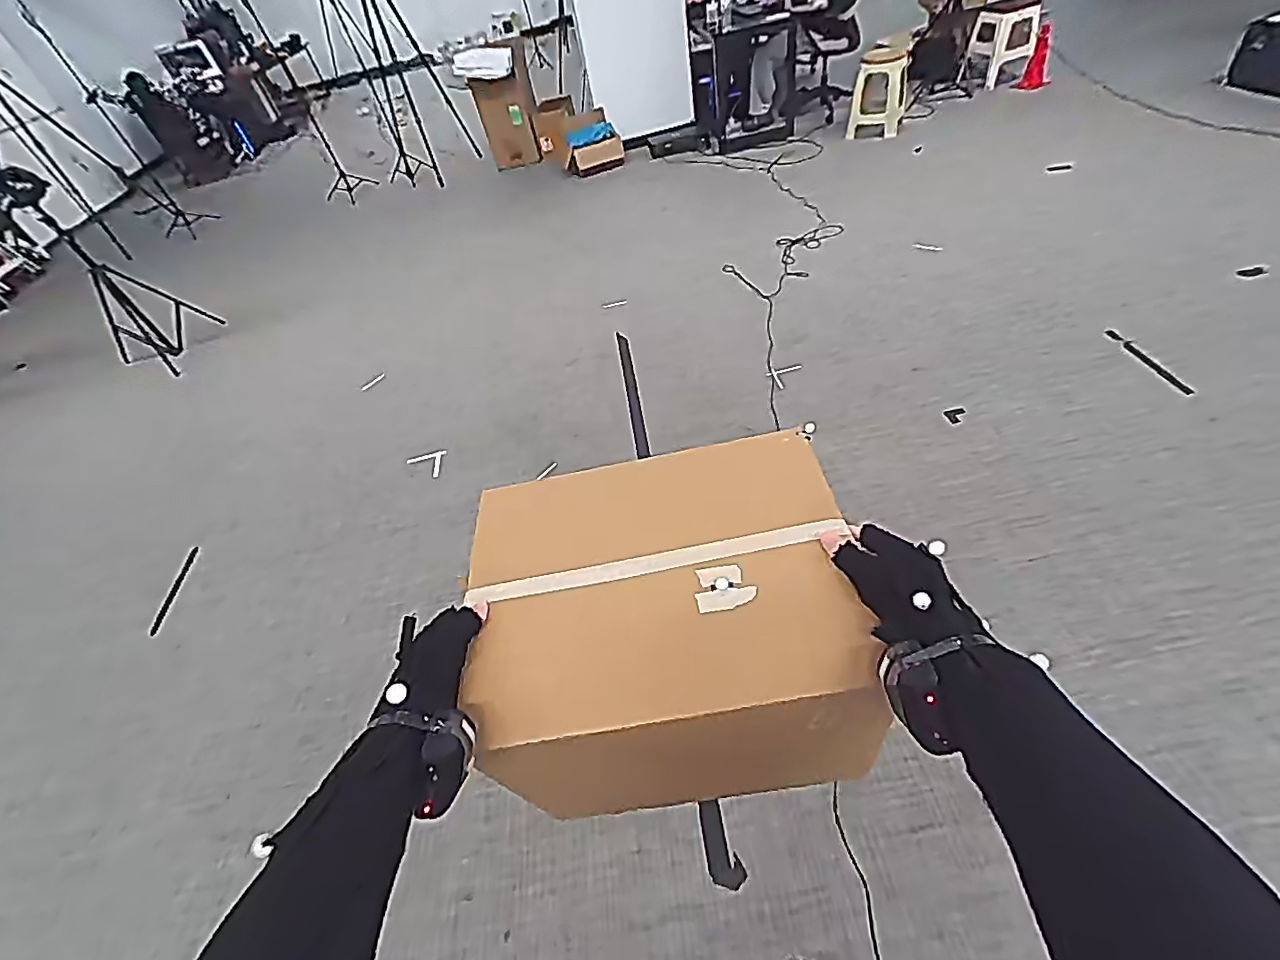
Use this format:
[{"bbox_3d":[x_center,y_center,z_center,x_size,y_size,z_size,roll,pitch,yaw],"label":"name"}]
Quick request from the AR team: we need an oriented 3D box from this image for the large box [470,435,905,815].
[{"bbox_3d":[0.048,0.191,0.686,0.408,0.320,0.320,-11,48,4],"label":"large box"}]
